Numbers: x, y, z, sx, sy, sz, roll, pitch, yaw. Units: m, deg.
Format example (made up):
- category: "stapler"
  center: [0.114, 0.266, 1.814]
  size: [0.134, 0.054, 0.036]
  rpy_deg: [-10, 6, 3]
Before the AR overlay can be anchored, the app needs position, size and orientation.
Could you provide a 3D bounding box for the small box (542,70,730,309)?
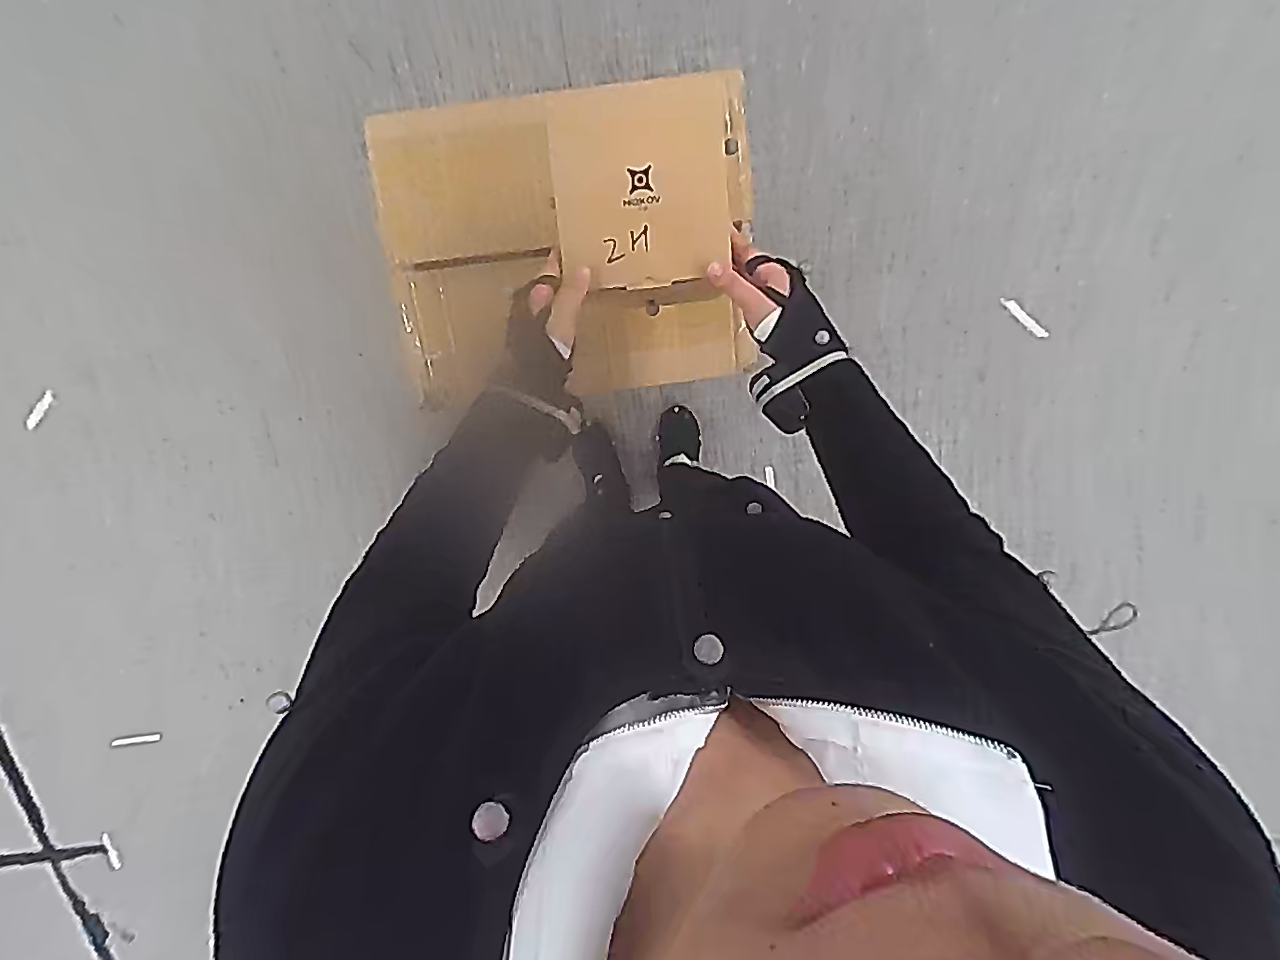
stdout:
- category: "small box"
  center: [0.002, -0.291, 0.581]
  size: [0.168, 0.176, 0.179]
  rpy_deg: [-5, 101, 5]
